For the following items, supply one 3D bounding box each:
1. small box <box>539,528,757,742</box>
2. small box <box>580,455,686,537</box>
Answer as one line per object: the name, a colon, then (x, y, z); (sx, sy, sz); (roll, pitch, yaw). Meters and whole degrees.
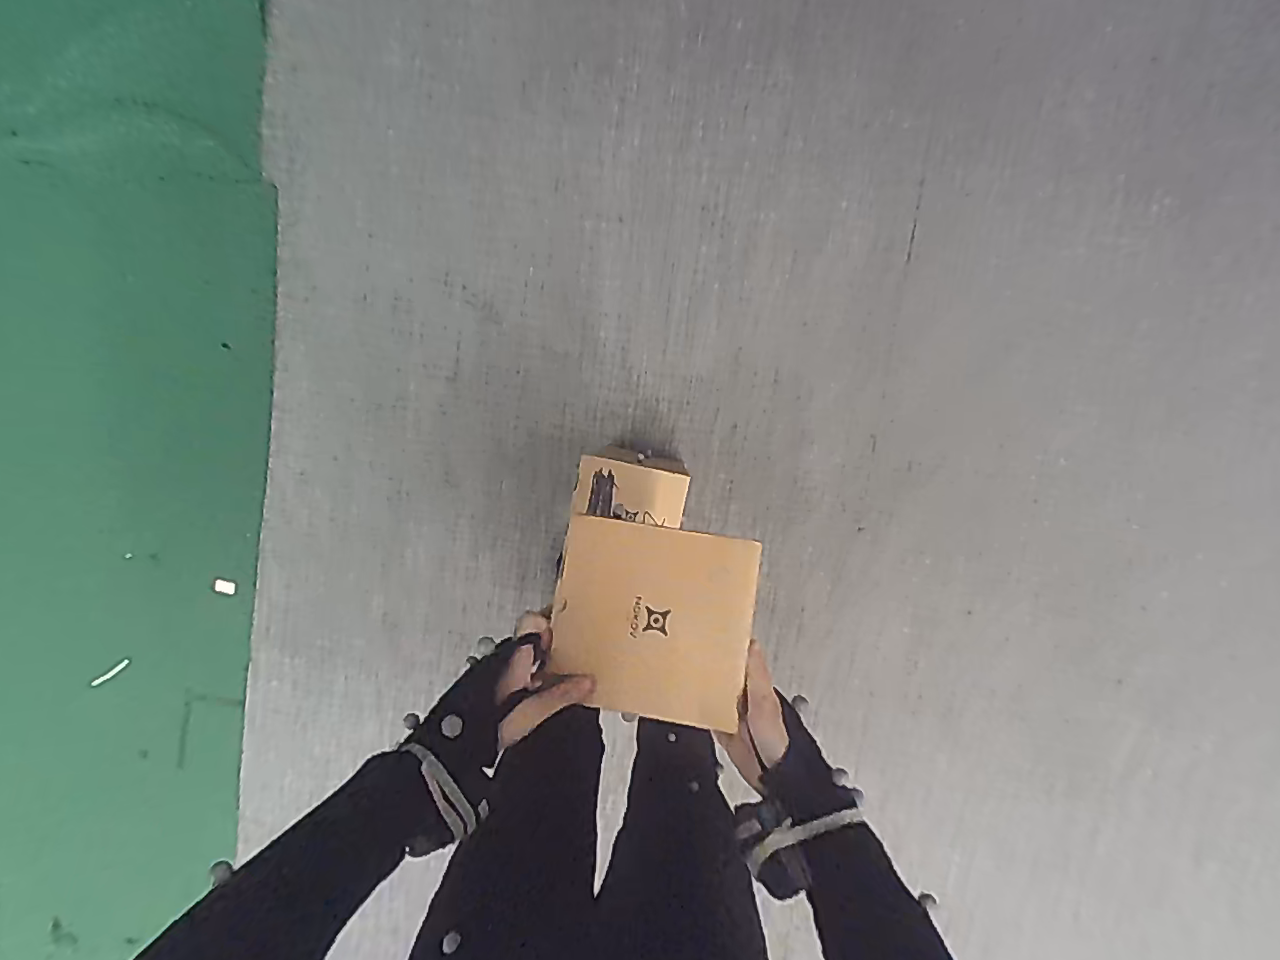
small box: (0.015, 0.141, 0.557); (0.179, 0.176, 0.168); (8, 85, 7)
small box: (-0.012, 0.048, 1.087); (0.179, 0.176, 0.168); (14, 96, 3)
